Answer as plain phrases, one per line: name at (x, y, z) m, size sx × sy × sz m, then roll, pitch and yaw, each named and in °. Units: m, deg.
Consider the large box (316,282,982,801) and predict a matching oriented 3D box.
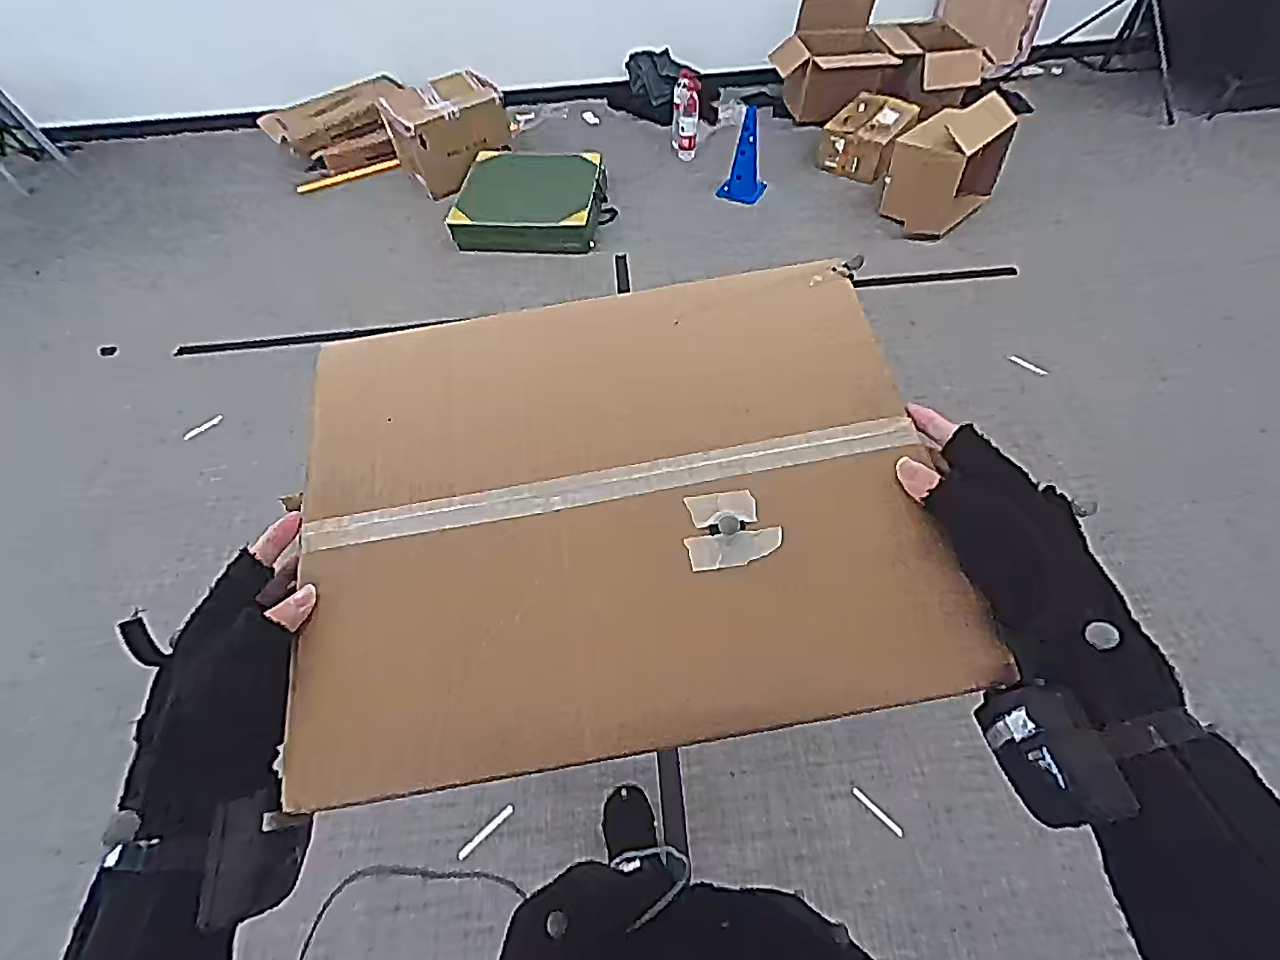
large box at (-0.011, 0.070, 0.507) m, size 0.408 × 0.320 × 0.320 m, roll -10°, pitch 67°, yaw -2°
